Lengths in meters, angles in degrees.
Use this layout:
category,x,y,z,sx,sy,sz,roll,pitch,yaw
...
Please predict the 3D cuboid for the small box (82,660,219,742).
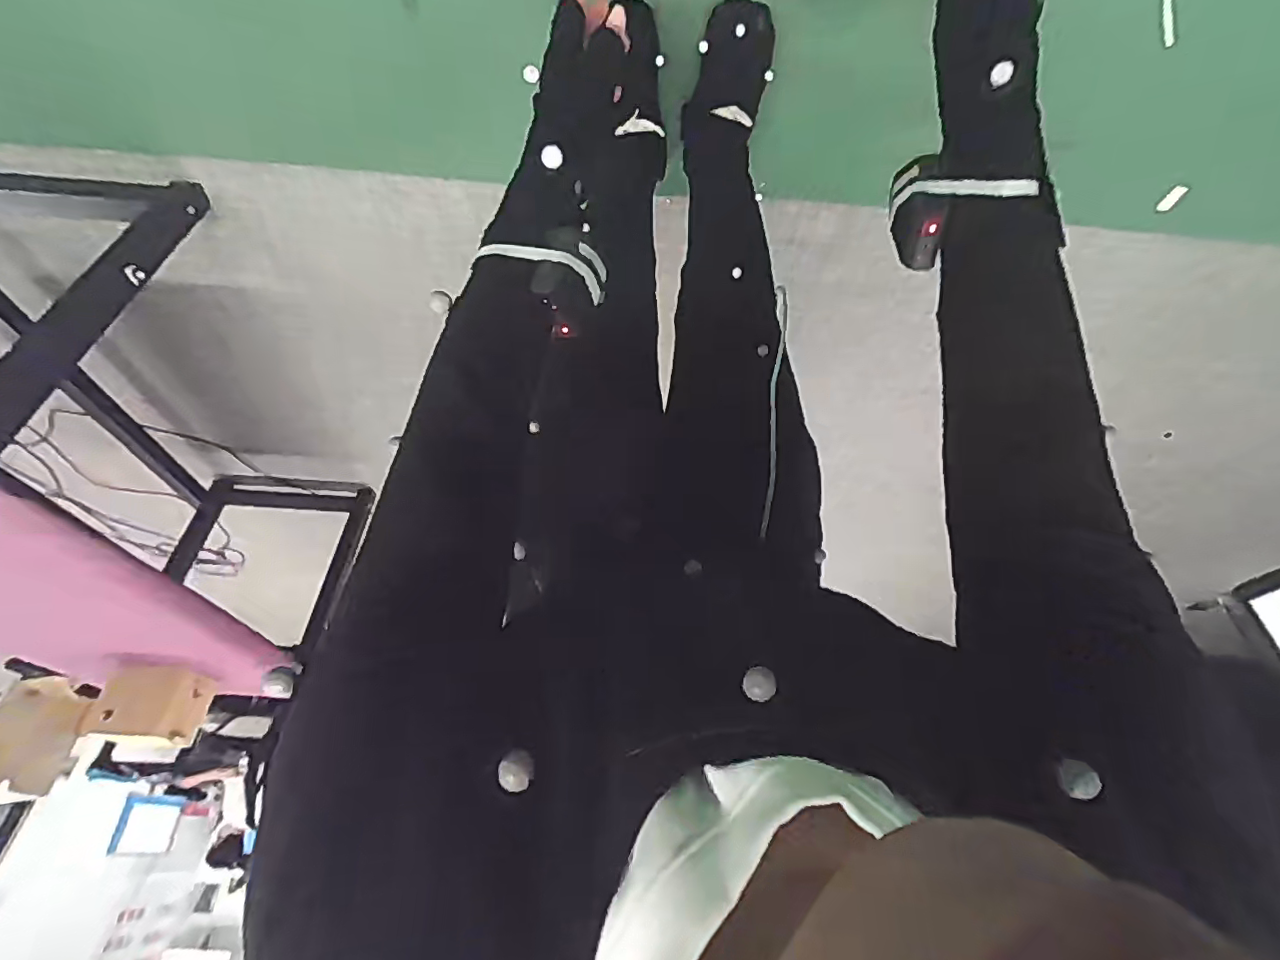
category,x,y,z,sx,sy,sz,roll,pitch,yaw
small box,-1.272,0.580,1.422,0.179,0.176,0.168,4,145,-4
